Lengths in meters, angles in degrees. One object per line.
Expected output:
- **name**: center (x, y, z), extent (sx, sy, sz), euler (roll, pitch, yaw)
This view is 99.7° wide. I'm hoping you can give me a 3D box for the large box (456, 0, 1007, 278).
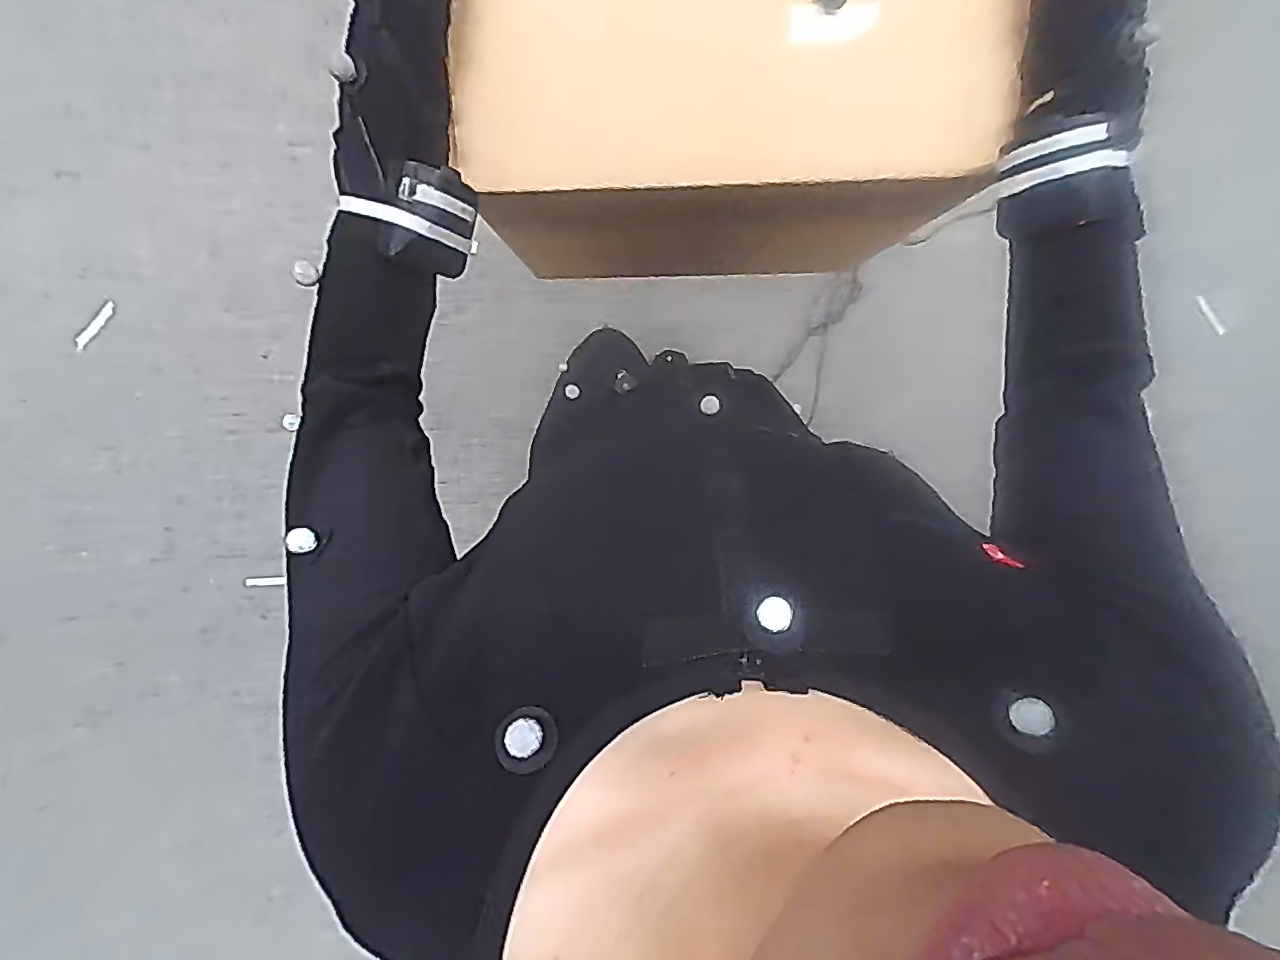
- **large box**: center (0.062, -0.399, 0.530), extent (0.408, 0.320, 0.320), euler (-2, 99, 0)
